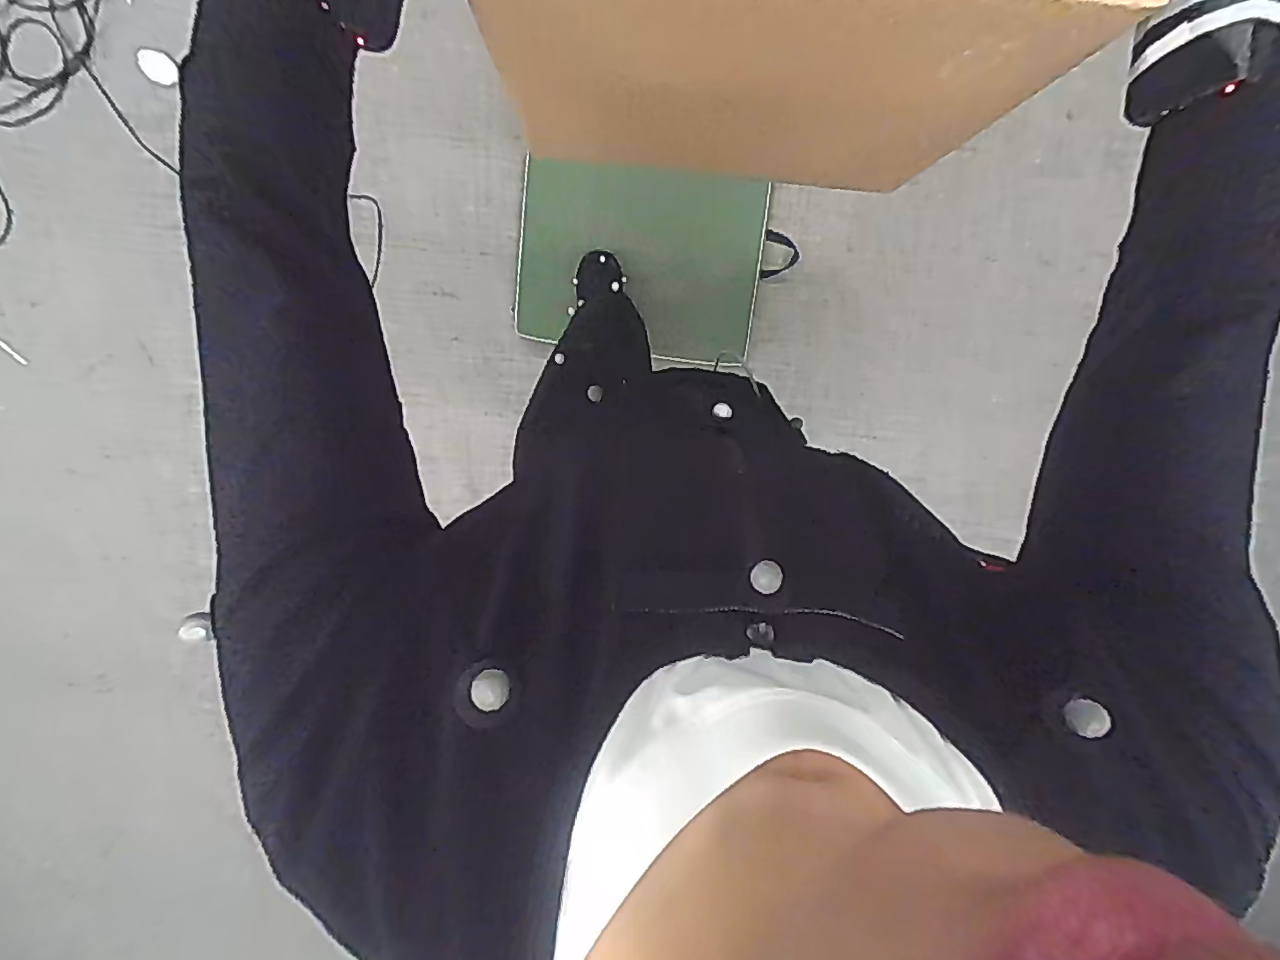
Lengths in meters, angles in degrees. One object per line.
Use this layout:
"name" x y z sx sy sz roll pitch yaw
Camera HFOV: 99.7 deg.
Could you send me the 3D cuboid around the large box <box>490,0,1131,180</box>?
"large box" 0.099 -0.467 0.427 0.408 0.320 0.320 3 101 -4
